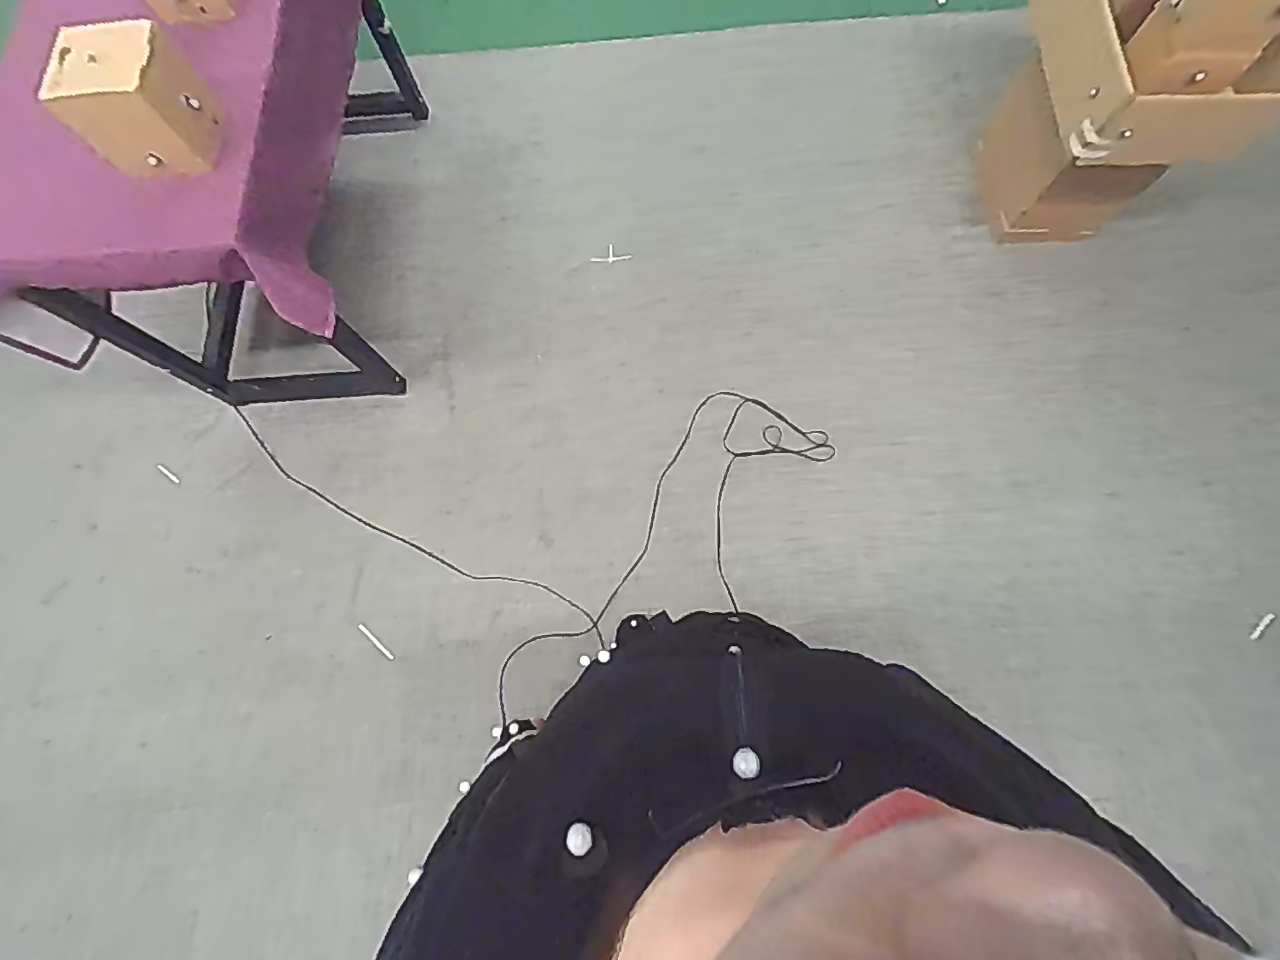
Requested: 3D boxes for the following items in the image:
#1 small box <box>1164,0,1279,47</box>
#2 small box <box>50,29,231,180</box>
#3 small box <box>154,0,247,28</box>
[{"bbox_3d":[1.225,-1.013,1.085,0.179,0.176,0.168,2,74,5],"label":"small box"},{"bbox_3d":[-0.927,-0.702,1.024,0.179,0.176,0.168,-3,74,2],"label":"small box"},{"bbox_3d":[-0.961,-1.106,1.140,0.168,0.176,0.179,-2,74,4],"label":"small box"}]
